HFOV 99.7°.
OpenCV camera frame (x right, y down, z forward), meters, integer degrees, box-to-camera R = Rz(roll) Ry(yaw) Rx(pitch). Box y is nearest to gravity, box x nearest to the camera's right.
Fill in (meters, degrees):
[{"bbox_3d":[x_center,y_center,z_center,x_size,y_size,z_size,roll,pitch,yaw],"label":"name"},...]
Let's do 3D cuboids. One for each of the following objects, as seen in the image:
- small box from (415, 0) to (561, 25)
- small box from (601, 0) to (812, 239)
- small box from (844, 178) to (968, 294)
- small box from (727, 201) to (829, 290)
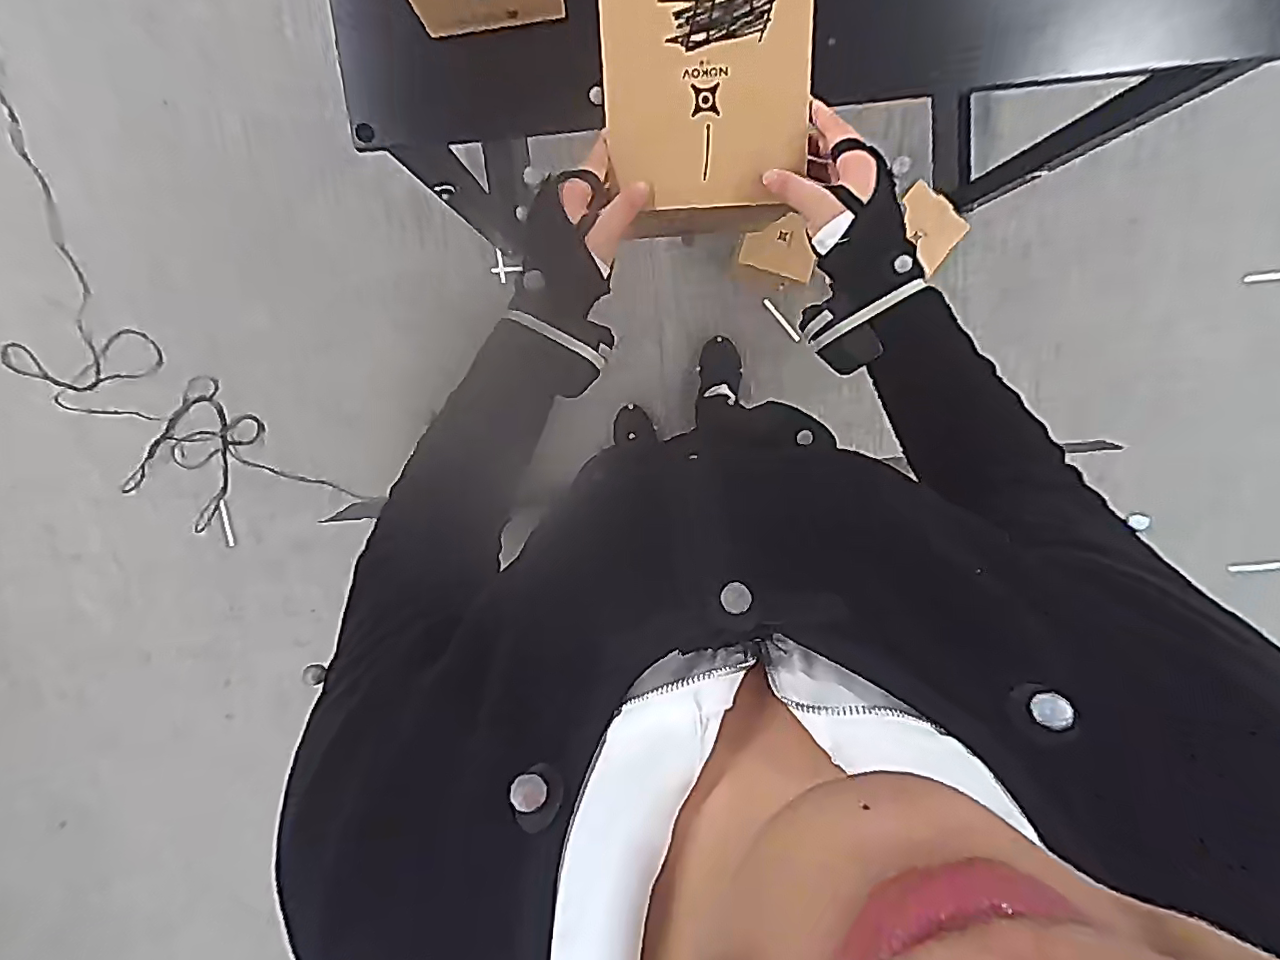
[{"bbox_3d":[-0.182,-0.613,0.555,0.168,0.176,0.179,-8,101,1],"label":"small box"},{"bbox_3d":[0.051,-0.334,0.505,0.168,0.176,0.179,-2,107,1],"label":"small box"},{"bbox_3d":[0.629,-0.577,1.305,0.168,0.176,0.179,37,99,-7],"label":"small box"},{"bbox_3d":[0.325,-0.571,1.309,0.179,0.176,0.168,15,100,-2],"label":"small box"}]
